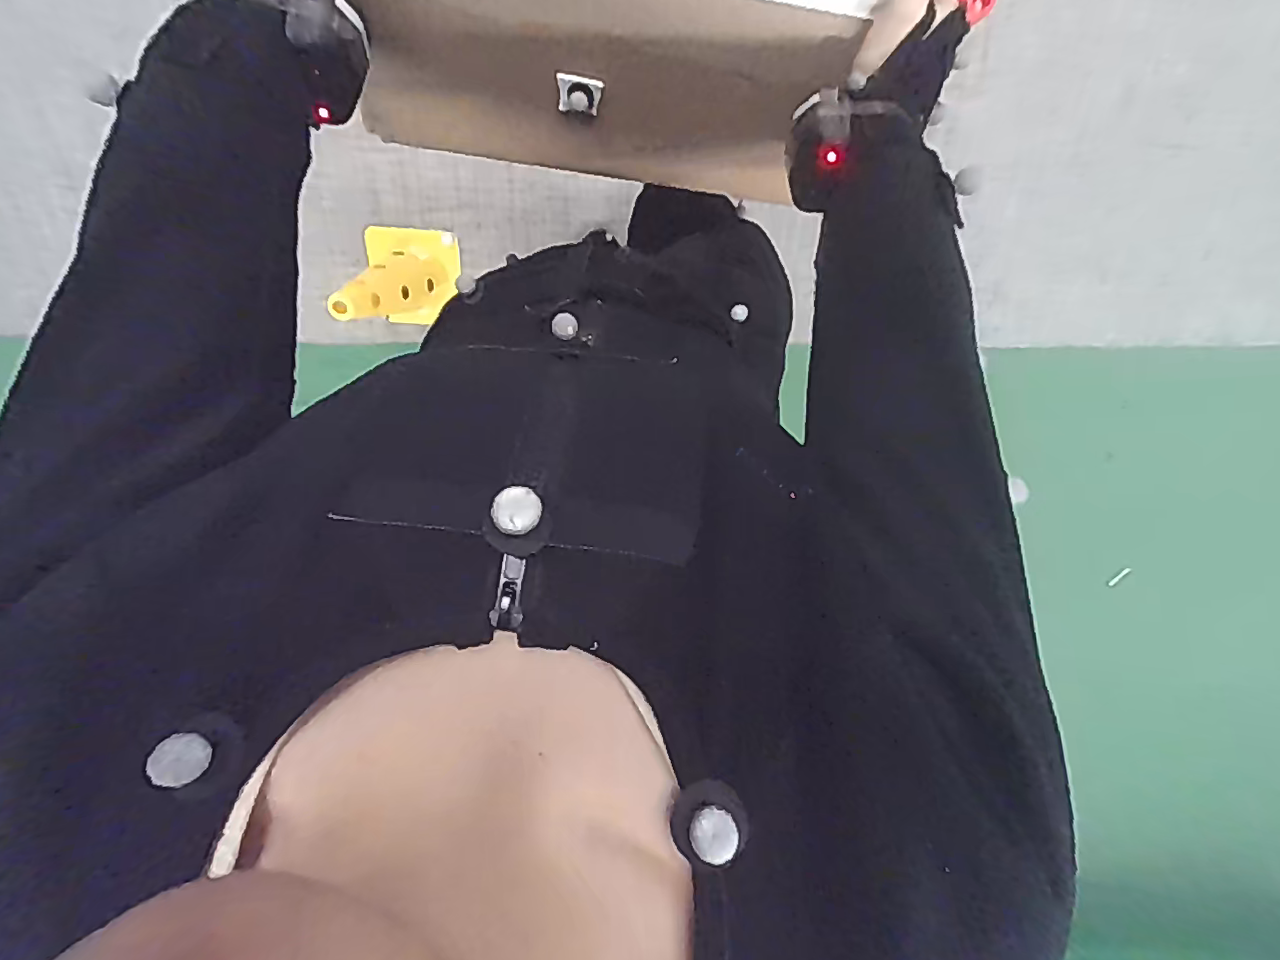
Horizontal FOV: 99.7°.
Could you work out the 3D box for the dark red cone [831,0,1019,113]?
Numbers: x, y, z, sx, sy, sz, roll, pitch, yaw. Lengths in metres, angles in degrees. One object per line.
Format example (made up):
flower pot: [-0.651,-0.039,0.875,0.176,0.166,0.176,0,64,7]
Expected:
dark red cone: [0.447,-0.700,0.823,0.202,0.394,0.201,-6,120,3]
